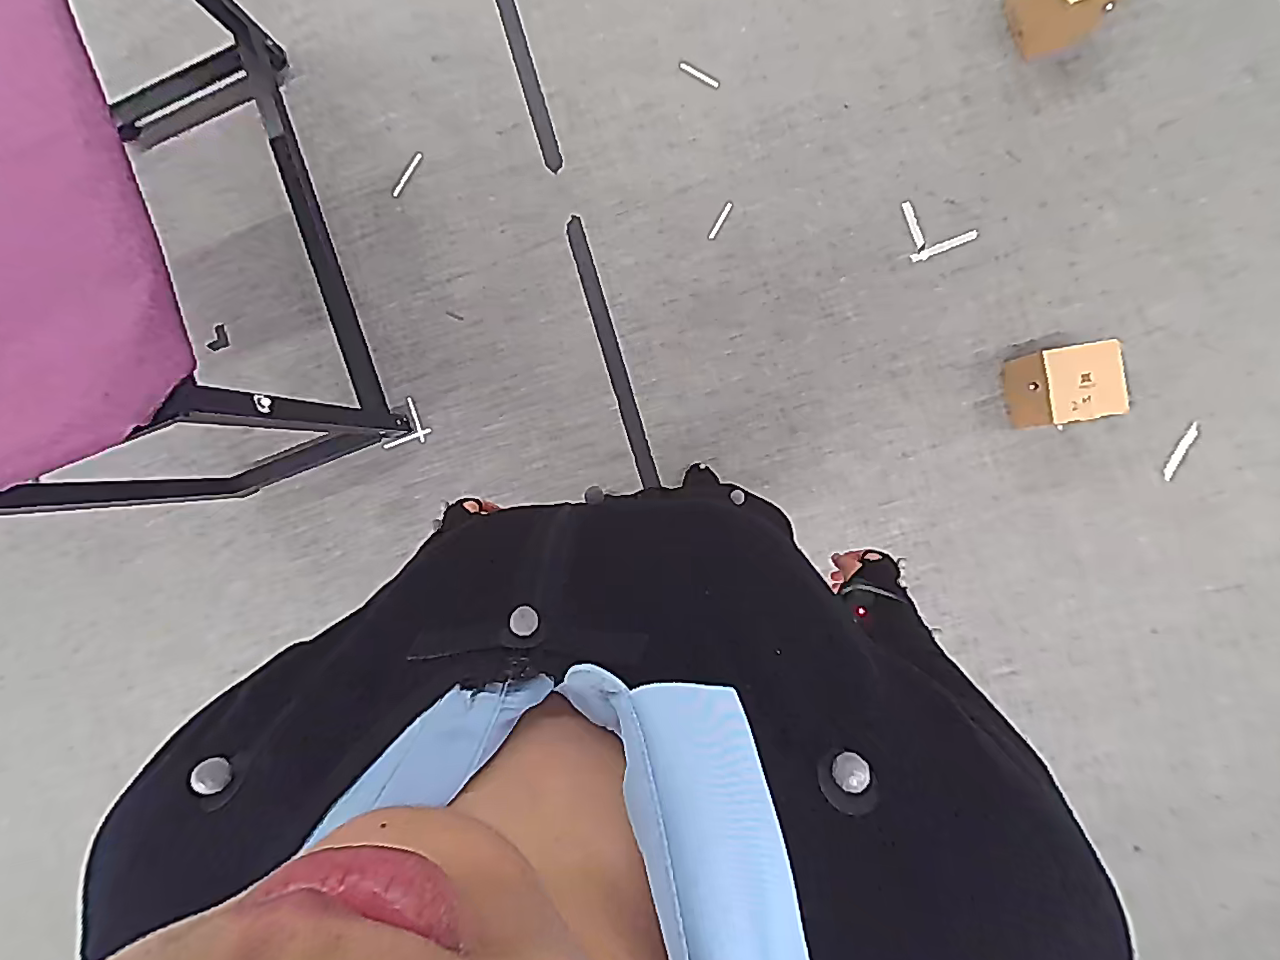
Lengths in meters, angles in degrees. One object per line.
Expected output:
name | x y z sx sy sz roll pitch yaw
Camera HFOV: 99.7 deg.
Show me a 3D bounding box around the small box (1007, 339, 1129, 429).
small box | 1.029 -0.226 1.316 0.168 0.176 0.179 -9 91 7
